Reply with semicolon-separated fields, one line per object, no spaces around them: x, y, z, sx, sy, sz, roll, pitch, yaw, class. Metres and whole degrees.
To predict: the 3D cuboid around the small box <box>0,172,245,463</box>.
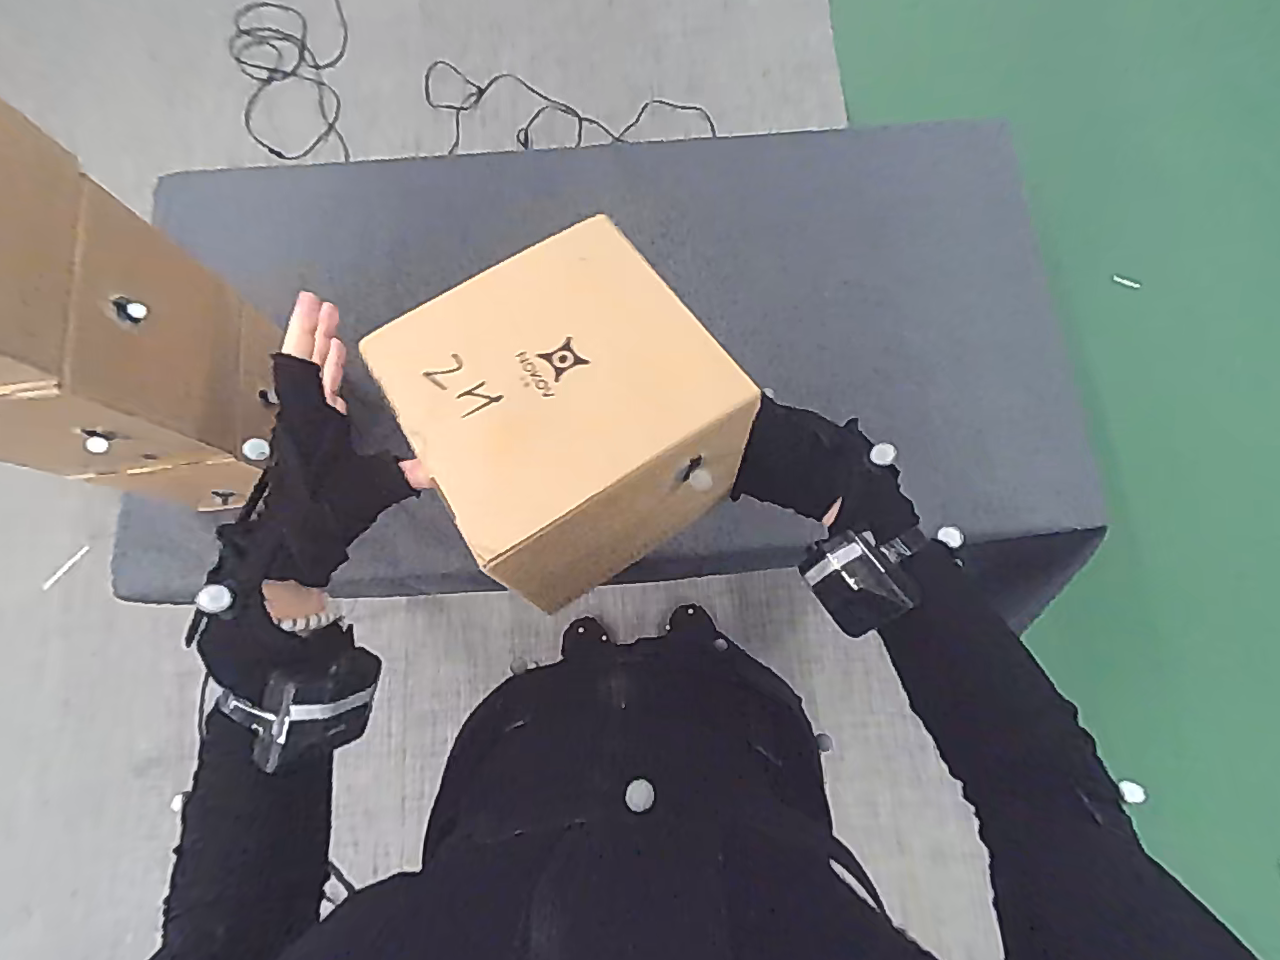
-0.474;-0.118;0.456;0.168;0.176;0.179;-6;77;-2;small box

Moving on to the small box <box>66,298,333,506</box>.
-0.475;-0.078;0.614;0.168;0.176;0.179;-7;77;-2;small box

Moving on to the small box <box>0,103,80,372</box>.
-0.475;-0.162;0.298;0.168;0.176;0.179;-8;77;-3;small box

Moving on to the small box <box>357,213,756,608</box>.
-0.048;-0.035;0.377;0.179;0.176;0.168;-34;68;-10;small box
